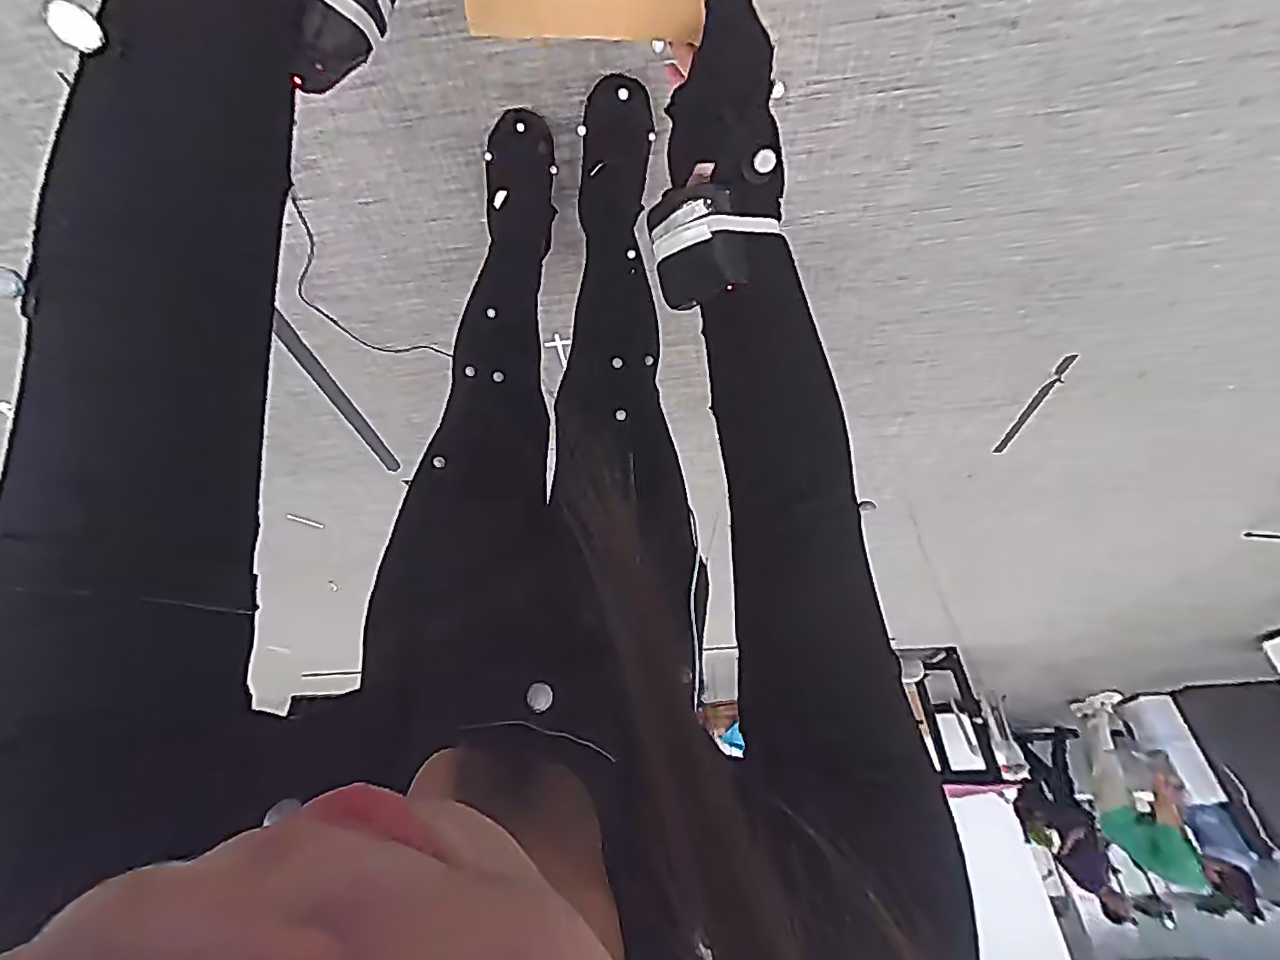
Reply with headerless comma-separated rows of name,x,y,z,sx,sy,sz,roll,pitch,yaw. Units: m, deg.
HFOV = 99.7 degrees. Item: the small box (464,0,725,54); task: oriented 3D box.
small box,-0.032,-0.415,0.365,0.179,0.176,0.168,-3,142,-5
